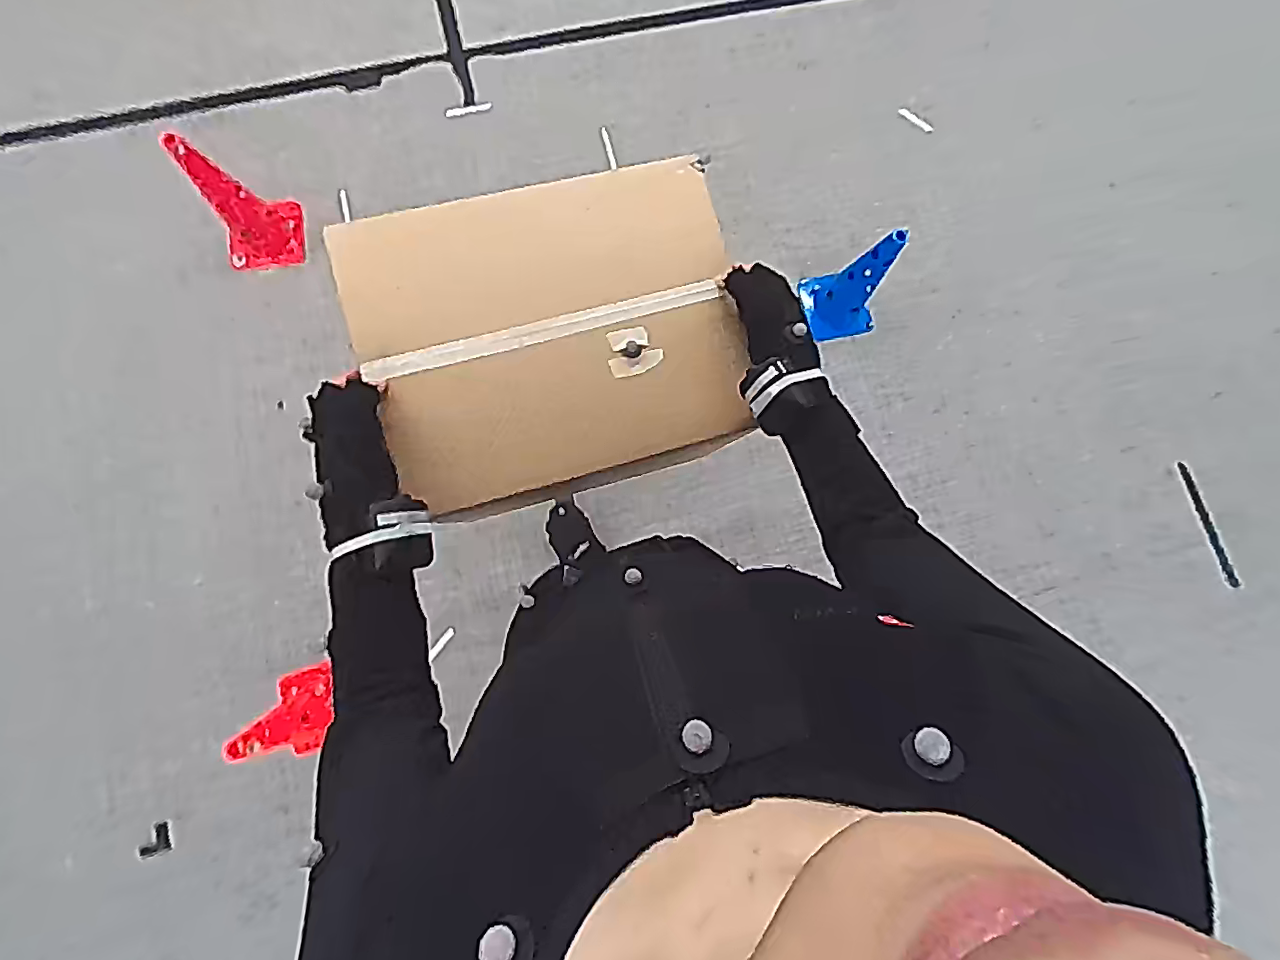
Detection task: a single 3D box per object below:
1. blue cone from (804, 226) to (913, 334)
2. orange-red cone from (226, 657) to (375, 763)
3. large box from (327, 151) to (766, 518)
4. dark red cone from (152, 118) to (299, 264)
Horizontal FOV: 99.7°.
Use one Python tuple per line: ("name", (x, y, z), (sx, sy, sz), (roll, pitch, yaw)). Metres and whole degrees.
("blue cone", (0.613, -0.564, 1.478), (0.192, 0.380, 0.193), (-11, 82, -7))
("orange-red cone", (-0.766, 0.537, 1.186), (0.198, 0.360, 0.199), (-17, 84, -6))
("large box", (-0.111, -0.156, 0.719), (0.408, 0.320, 0.320), (-16, 88, -9))
("dark red cone", (-1.044, -0.723, 1.345), (0.201, 0.394, 0.202), (-9, 82, -7))
